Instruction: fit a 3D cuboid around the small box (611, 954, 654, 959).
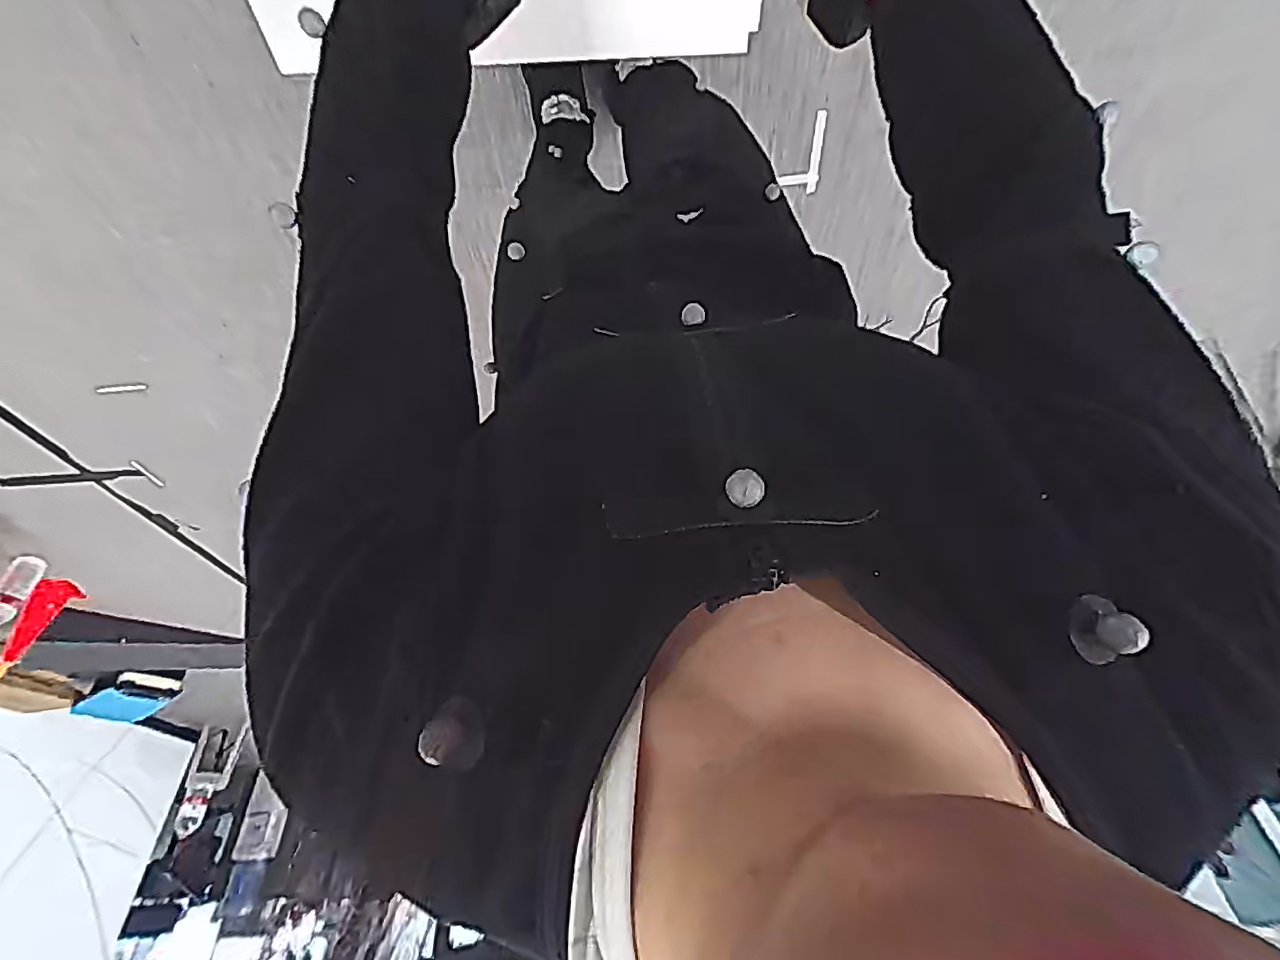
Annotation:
[{"bbox_3d":[-0.034,1.551,1.620,0.168,0.176,0.179,-4,145,0],"label":"small box"}]
